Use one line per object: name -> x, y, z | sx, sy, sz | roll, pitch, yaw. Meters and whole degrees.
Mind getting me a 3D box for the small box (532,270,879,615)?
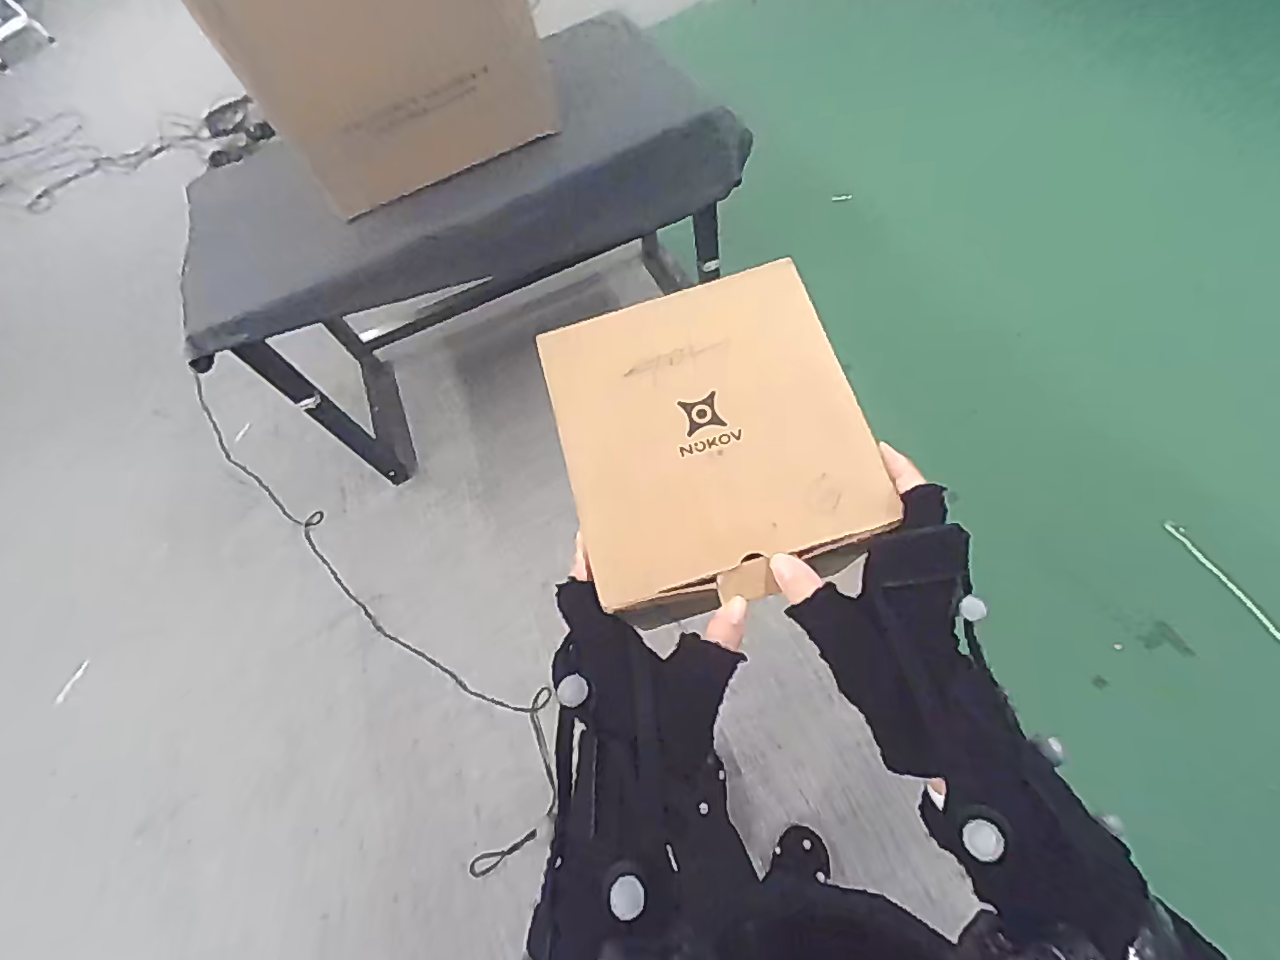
small box -> 0.040, -0.008, 0.391 | 0.168, 0.176, 0.179 | -17, 69, 1
